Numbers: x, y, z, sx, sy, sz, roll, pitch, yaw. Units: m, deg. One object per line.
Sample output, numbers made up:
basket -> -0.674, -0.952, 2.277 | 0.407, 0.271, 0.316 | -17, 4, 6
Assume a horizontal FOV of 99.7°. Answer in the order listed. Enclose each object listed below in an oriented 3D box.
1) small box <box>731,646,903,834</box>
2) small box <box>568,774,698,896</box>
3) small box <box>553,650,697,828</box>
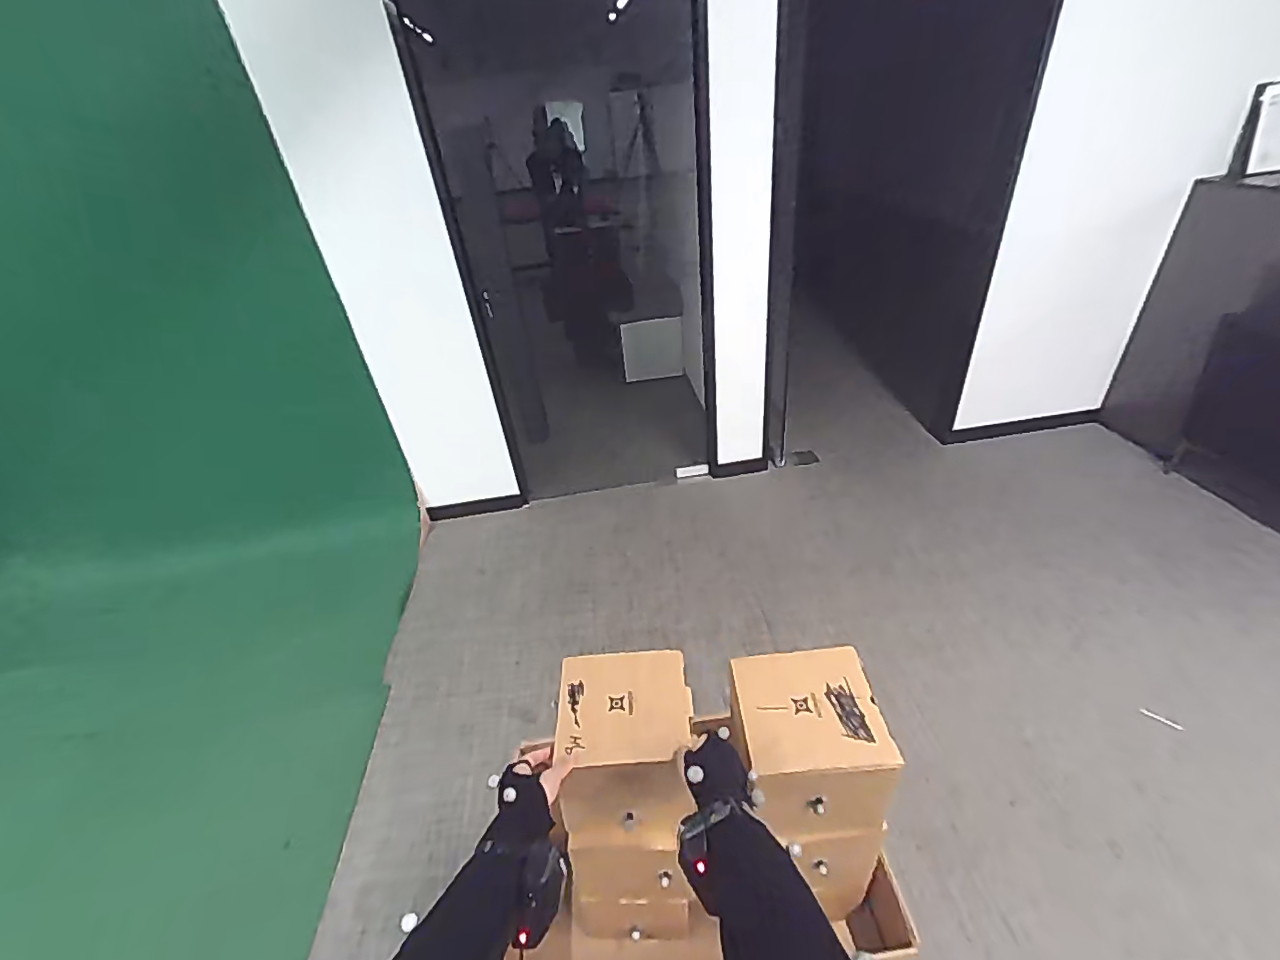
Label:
small box -> 0.221, 0.349, 0.728 | 0.179, 0.176, 0.168 | -7, 34, 3
small box -> -0.005, 0.508, 0.828 | 0.179, 0.176, 0.168 | -1, 33, 3
small box -> -0.019, 0.360, 0.757 | 0.179, 0.176, 0.168 | -2, 33, -1
